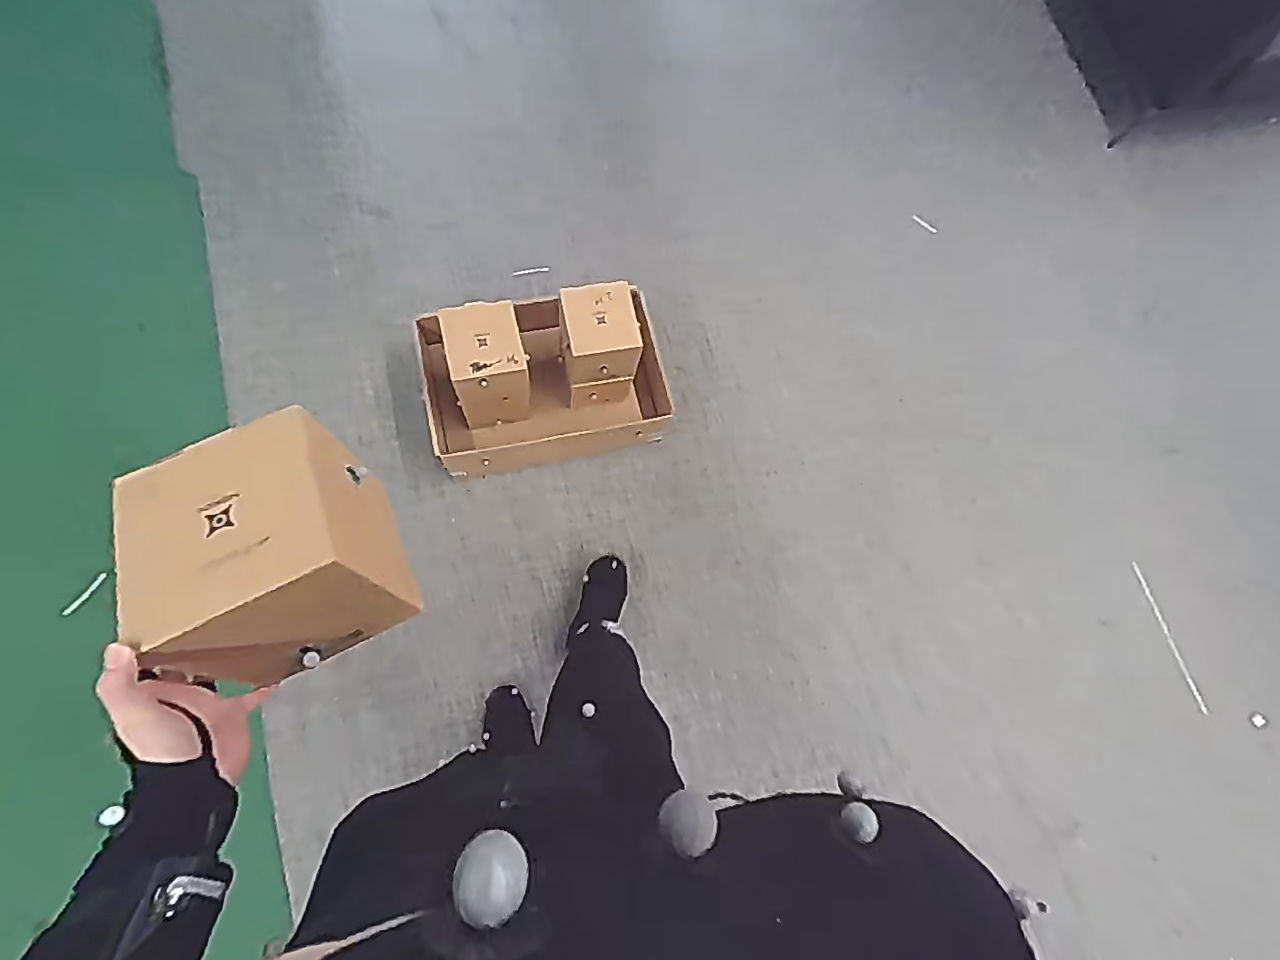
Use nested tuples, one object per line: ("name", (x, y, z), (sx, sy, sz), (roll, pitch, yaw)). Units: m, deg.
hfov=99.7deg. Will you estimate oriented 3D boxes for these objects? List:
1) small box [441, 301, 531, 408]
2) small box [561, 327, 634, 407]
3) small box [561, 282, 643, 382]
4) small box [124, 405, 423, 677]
("small box", (-0.355, -0.291, 1.269), (0.168, 0.176, 0.179), (-13, 78, -11))
("small box", (-0.120, -0.312, 1.484), (0.168, 0.176, 0.179), (-11, 78, -10))
("small box", (-0.097, -0.354, 1.326), (0.168, 0.176, 0.179), (-10, 78, -10))
("small box", (-0.339, 0.066, 0.523), (0.168, 0.176, 0.179), (-26, 63, -9))
